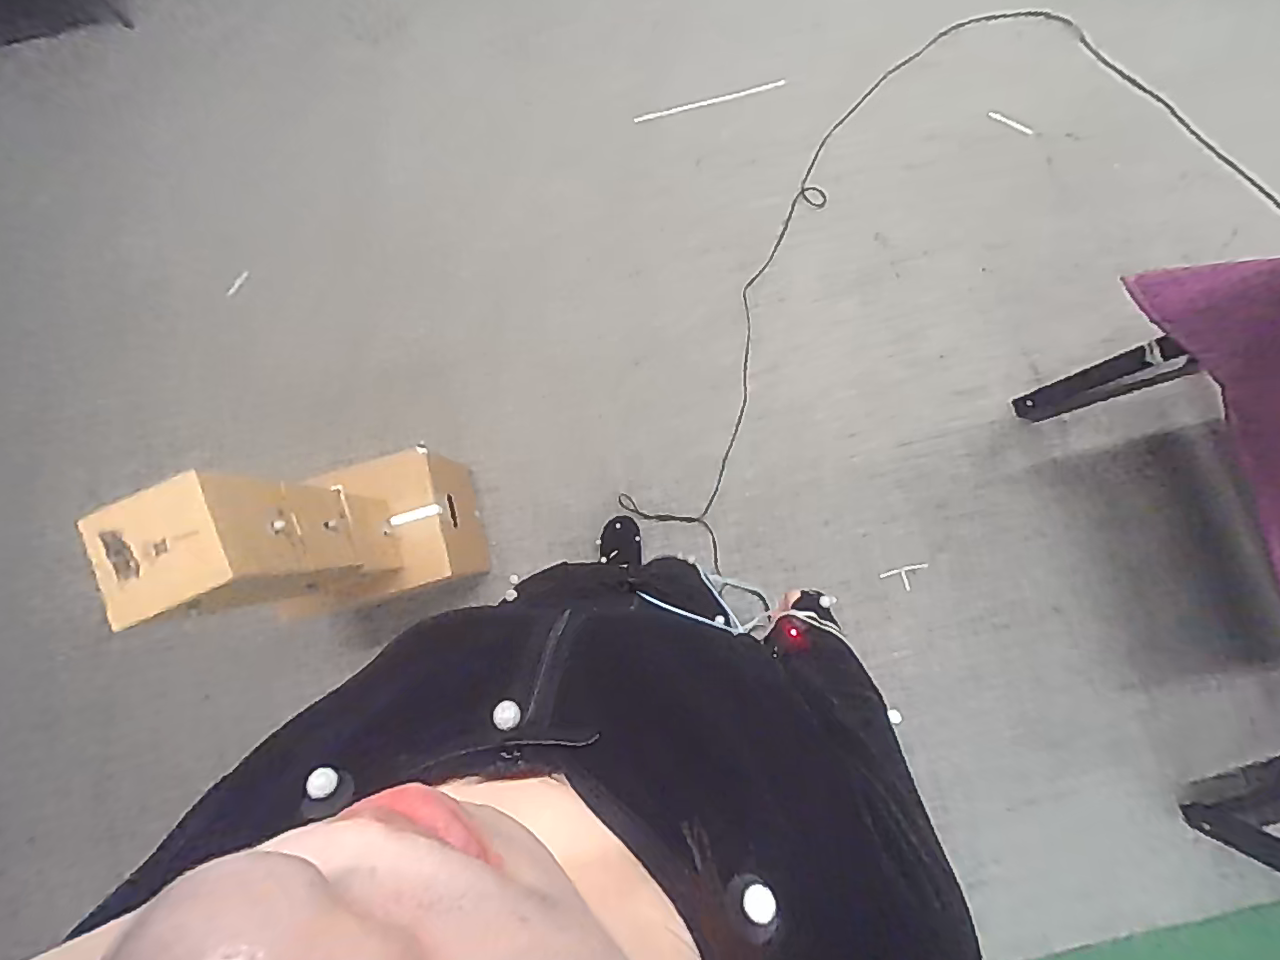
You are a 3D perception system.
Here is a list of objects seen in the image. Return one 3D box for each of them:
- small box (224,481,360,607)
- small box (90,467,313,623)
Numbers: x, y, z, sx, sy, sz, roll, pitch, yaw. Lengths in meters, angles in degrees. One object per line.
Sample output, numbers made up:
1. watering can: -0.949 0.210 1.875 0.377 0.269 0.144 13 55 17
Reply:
1. small box: -0.642 0.113 0.984 0.179 0.176 0.168 -23 84 -2
2. small box: -0.648 0.097 0.819 0.179 0.176 0.168 -24 85 -1
